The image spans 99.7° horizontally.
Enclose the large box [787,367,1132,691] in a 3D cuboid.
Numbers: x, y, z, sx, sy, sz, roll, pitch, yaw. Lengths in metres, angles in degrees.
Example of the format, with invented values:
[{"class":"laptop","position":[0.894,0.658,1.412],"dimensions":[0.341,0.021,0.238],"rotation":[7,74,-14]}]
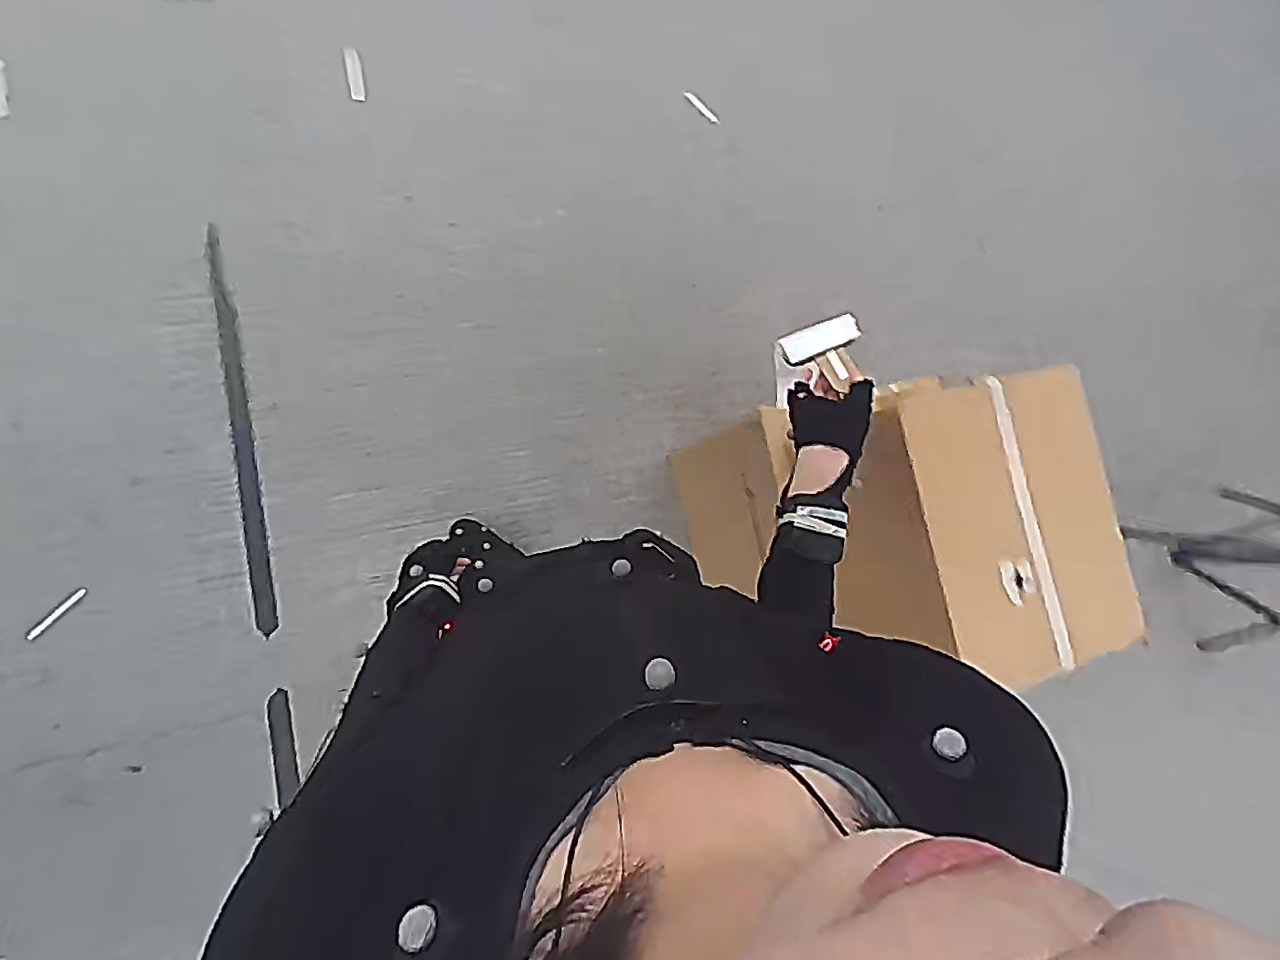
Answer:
[{"class":"large box","position":[0.491,0.069,0.897],"dimensions":[0.320,0.320,0.408],"rotation":[-12,88,-13]}]
